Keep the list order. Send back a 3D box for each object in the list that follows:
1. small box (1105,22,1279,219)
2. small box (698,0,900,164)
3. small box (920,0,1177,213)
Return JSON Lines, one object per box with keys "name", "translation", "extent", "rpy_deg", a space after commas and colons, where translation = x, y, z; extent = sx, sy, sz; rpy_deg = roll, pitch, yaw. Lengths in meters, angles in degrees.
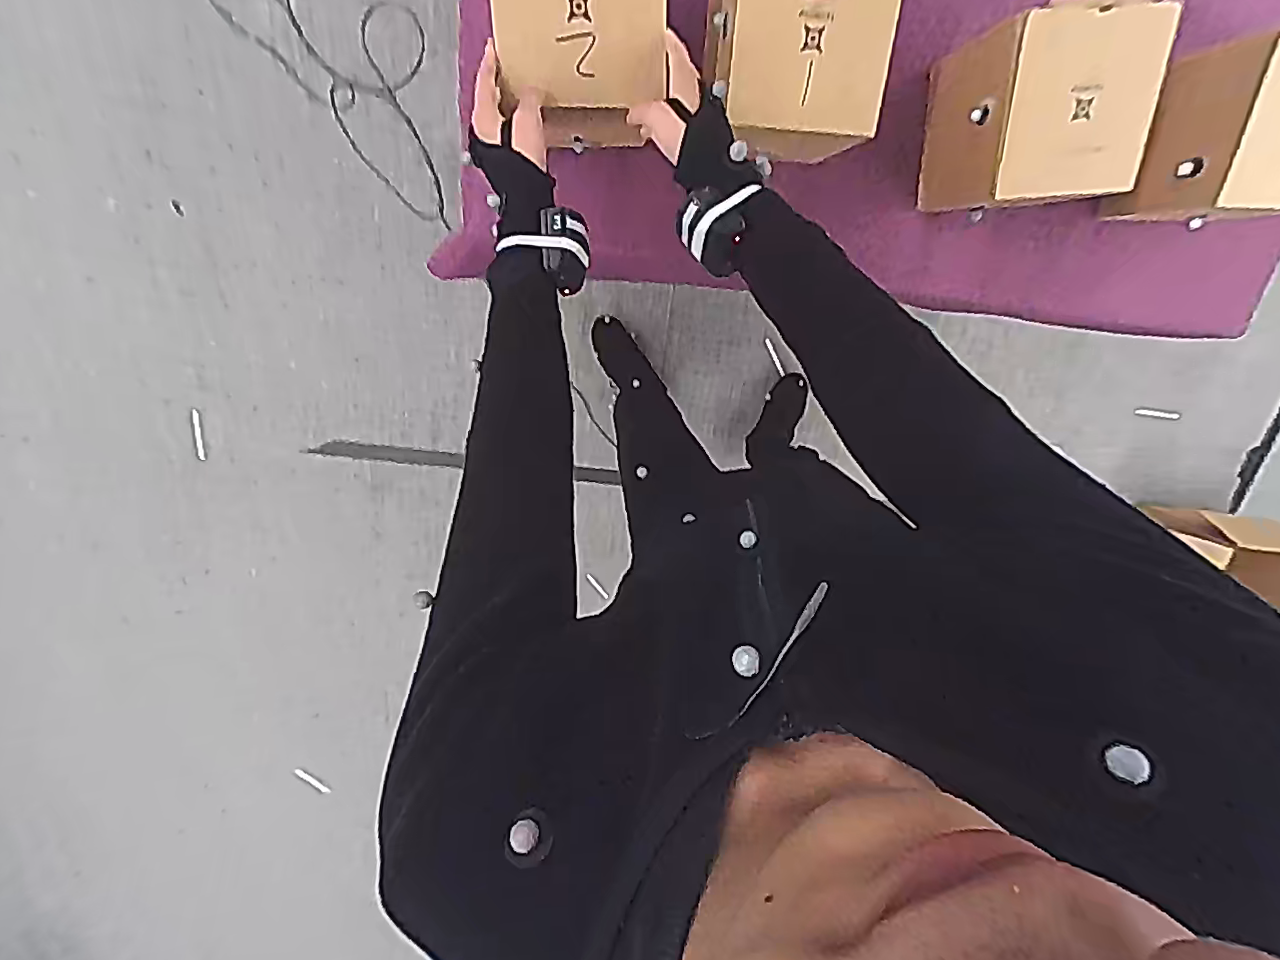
{"name": "small box", "translation": [0.740, -0.427, 0.672], "extent": [0.168, 0.176, 0.179], "rpy_deg": [-1, 111, -5]}
{"name": "small box", "translation": [0.164, -0.472, 0.604], "extent": [0.168, 0.176, 0.179], "rpy_deg": [1, 112, -5]}
{"name": "small box", "translation": [0.464, -0.430, 0.648], "extent": [0.168, 0.176, 0.179], "rpy_deg": [-5, 111, -2]}
